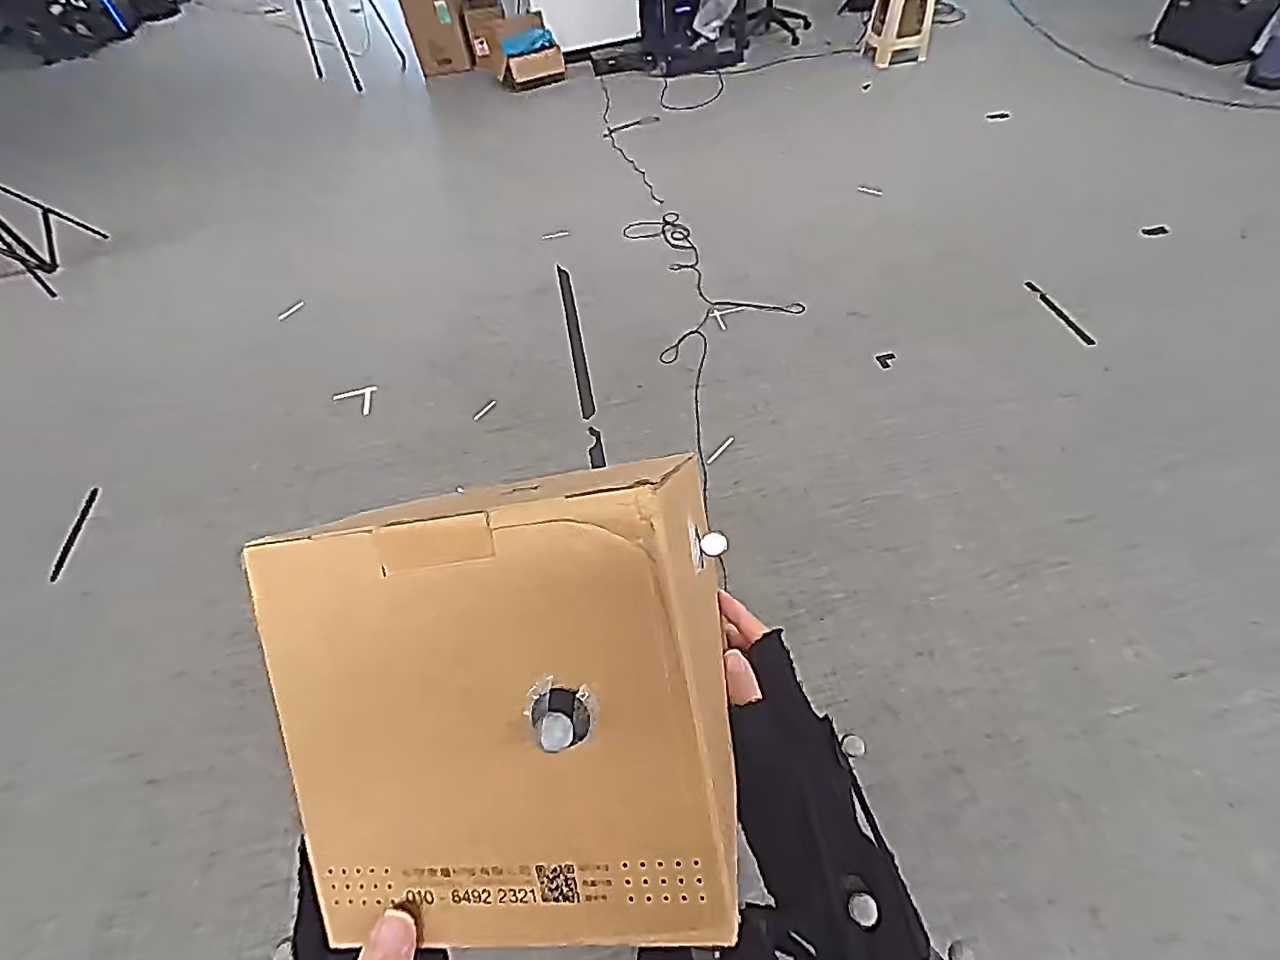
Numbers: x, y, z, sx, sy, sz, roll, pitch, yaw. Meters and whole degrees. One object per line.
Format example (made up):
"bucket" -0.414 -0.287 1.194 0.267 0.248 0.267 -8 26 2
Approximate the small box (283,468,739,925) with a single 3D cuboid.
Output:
"small box" -0.041 0.096 0.295 0.168 0.179 0.176 -9 94 12
